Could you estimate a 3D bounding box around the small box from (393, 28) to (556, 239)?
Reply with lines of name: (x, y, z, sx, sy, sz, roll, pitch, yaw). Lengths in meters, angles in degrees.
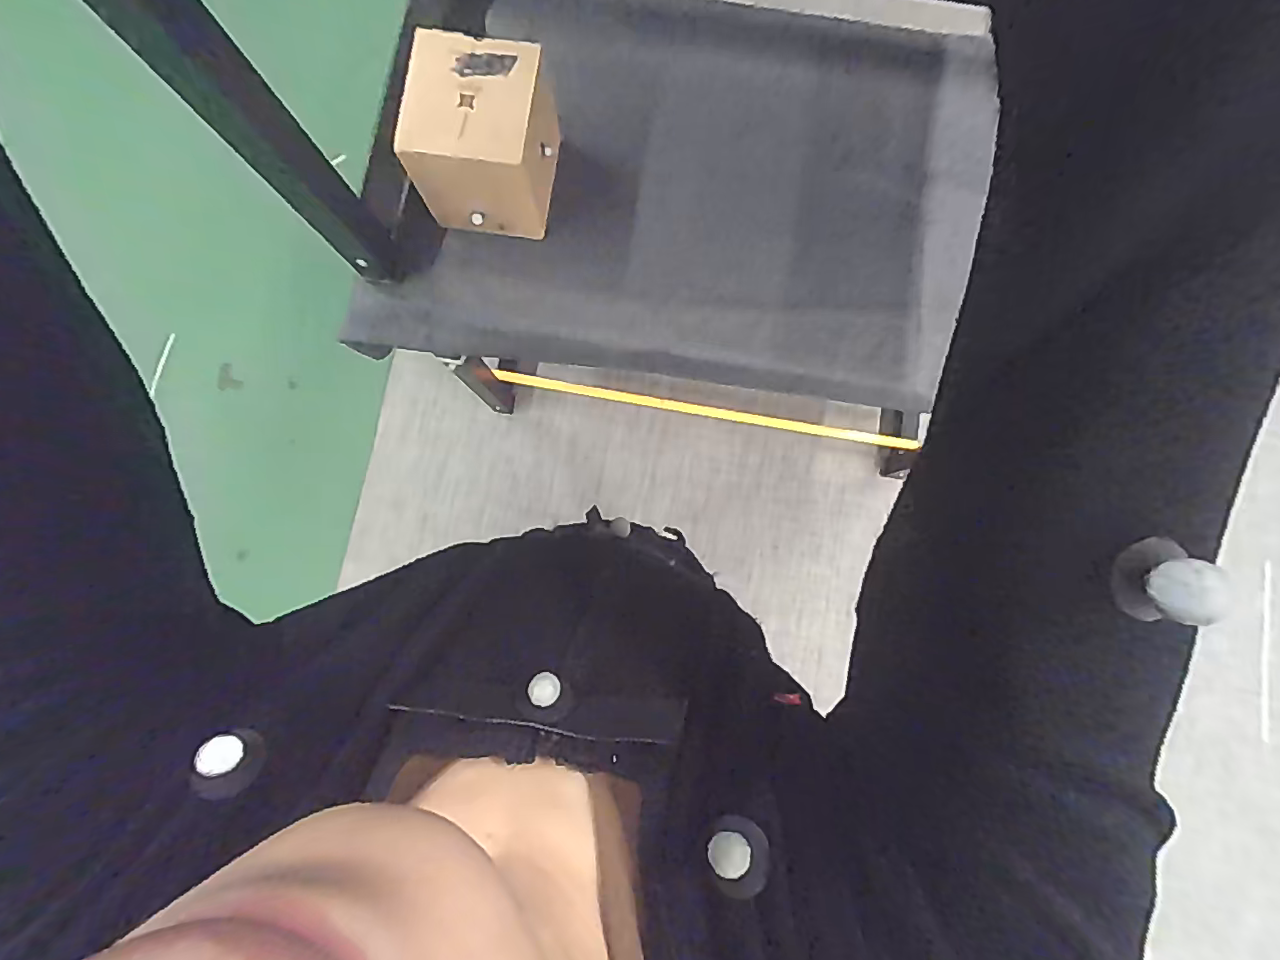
small box: (-0.218, -0.475, 0.762, 0.168, 0.176, 0.179, 7, 83, 1)
